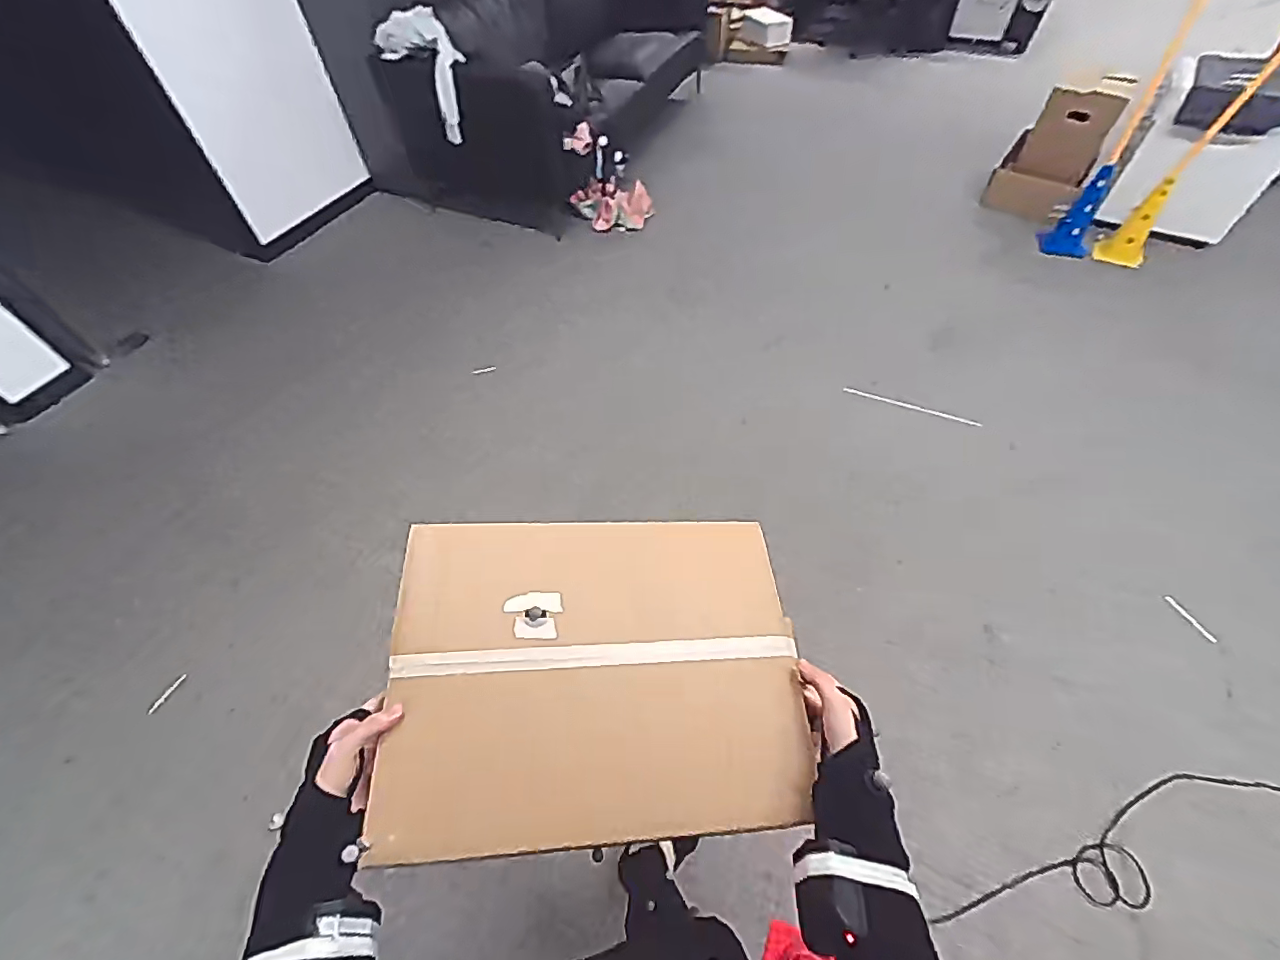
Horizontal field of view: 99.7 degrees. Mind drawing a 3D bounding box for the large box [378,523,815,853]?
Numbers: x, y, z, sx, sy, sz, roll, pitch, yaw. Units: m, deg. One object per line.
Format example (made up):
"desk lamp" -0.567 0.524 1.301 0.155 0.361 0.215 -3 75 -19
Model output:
"large box" -0.055 0.262 0.687 0.408 0.320 0.320 1 57 -8
